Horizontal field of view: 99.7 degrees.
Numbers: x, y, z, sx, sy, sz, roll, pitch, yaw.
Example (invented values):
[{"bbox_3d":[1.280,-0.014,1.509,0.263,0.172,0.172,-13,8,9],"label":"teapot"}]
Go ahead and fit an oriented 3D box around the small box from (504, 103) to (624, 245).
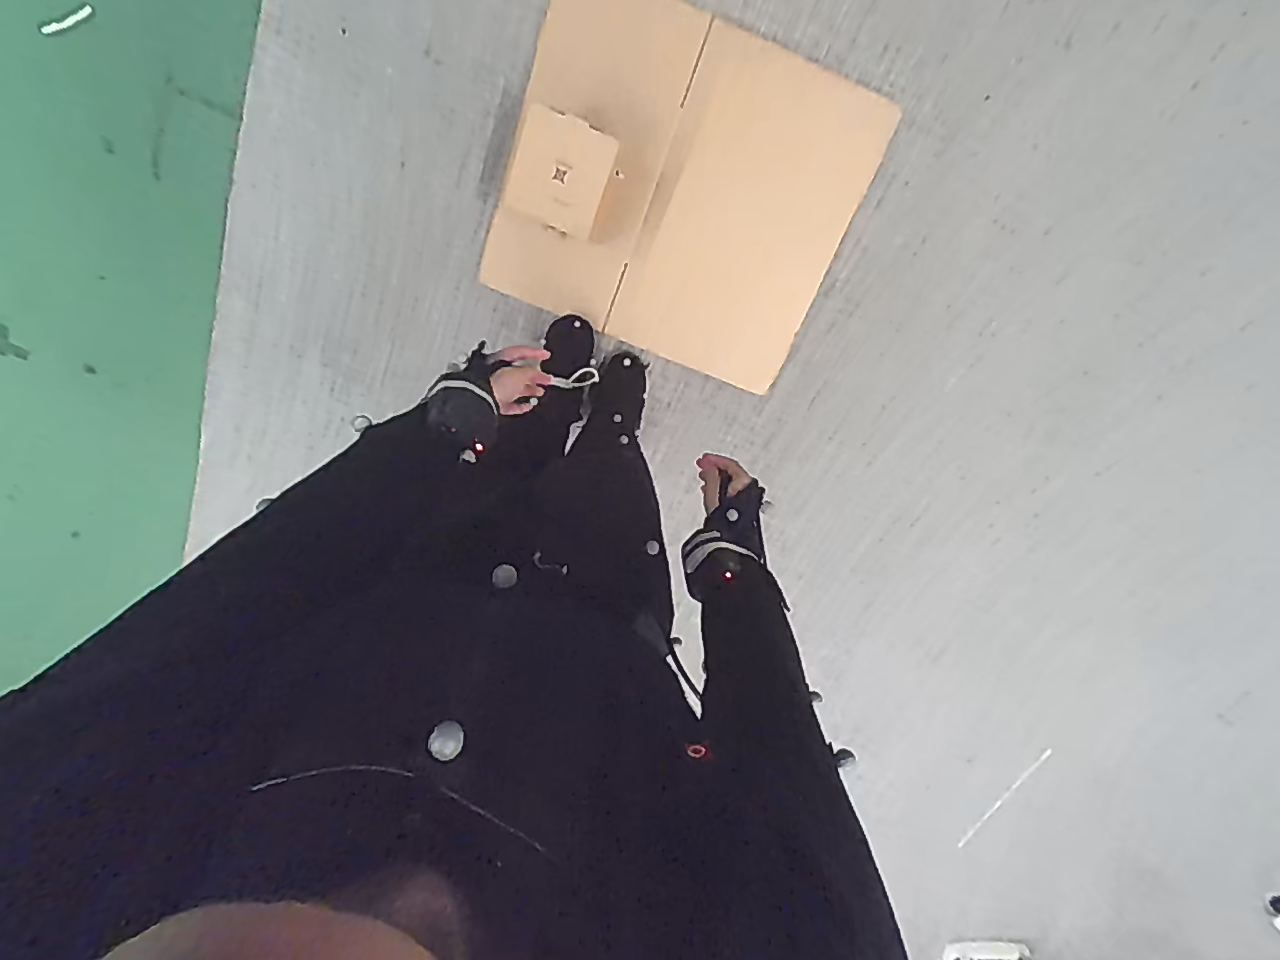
[{"bbox_3d":[-0.136,-0.565,1.025,0.168,0.176,0.179,22,111,-5],"label":"small box"}]
